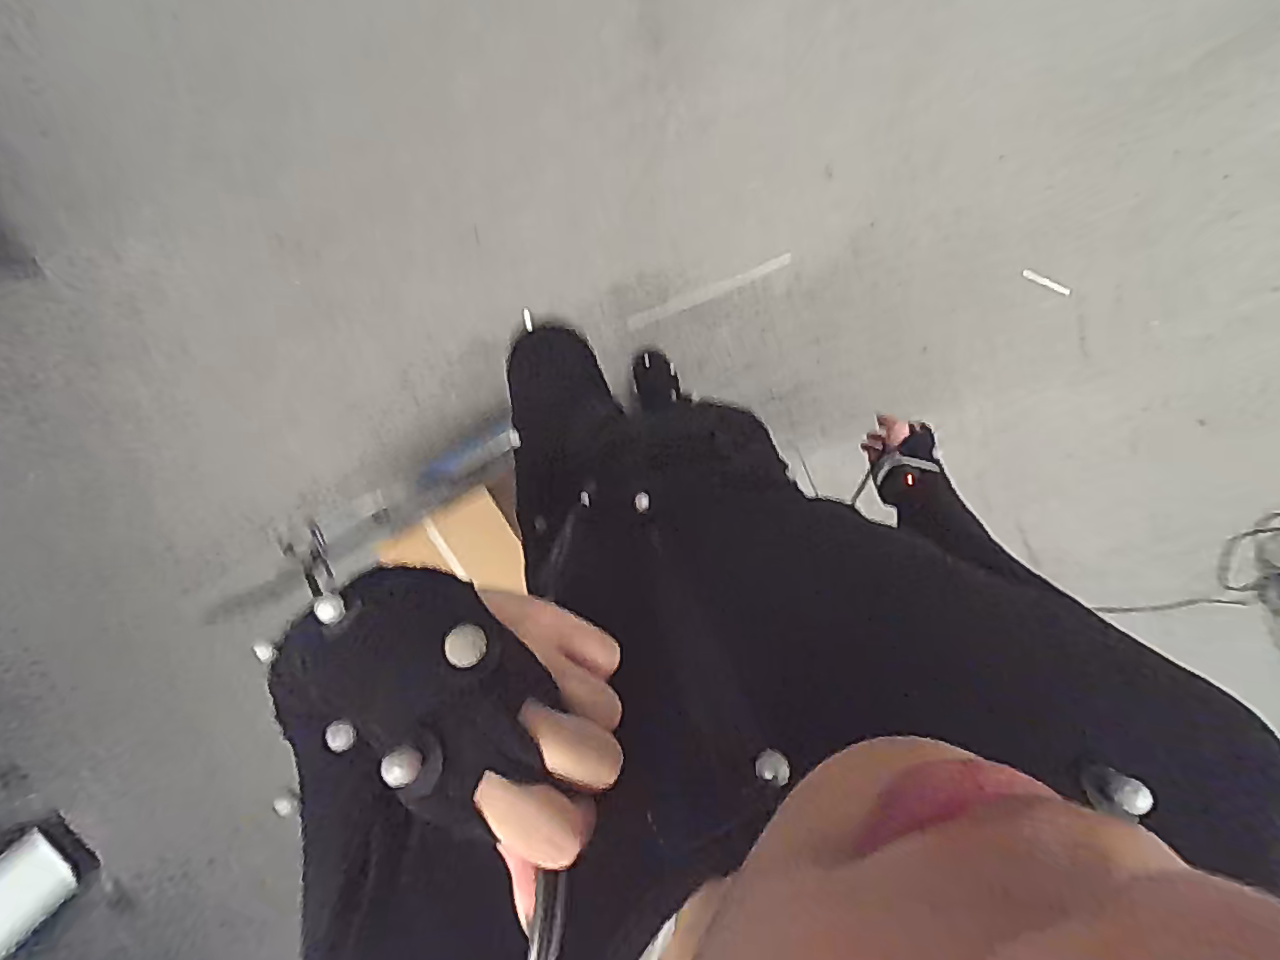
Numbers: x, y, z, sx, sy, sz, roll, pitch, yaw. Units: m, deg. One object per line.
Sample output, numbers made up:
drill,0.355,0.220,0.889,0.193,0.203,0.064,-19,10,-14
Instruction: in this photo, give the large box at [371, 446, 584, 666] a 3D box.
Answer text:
large box,-0.384,0.179,1.391,0.320,0.320,0.408,-27,104,9
